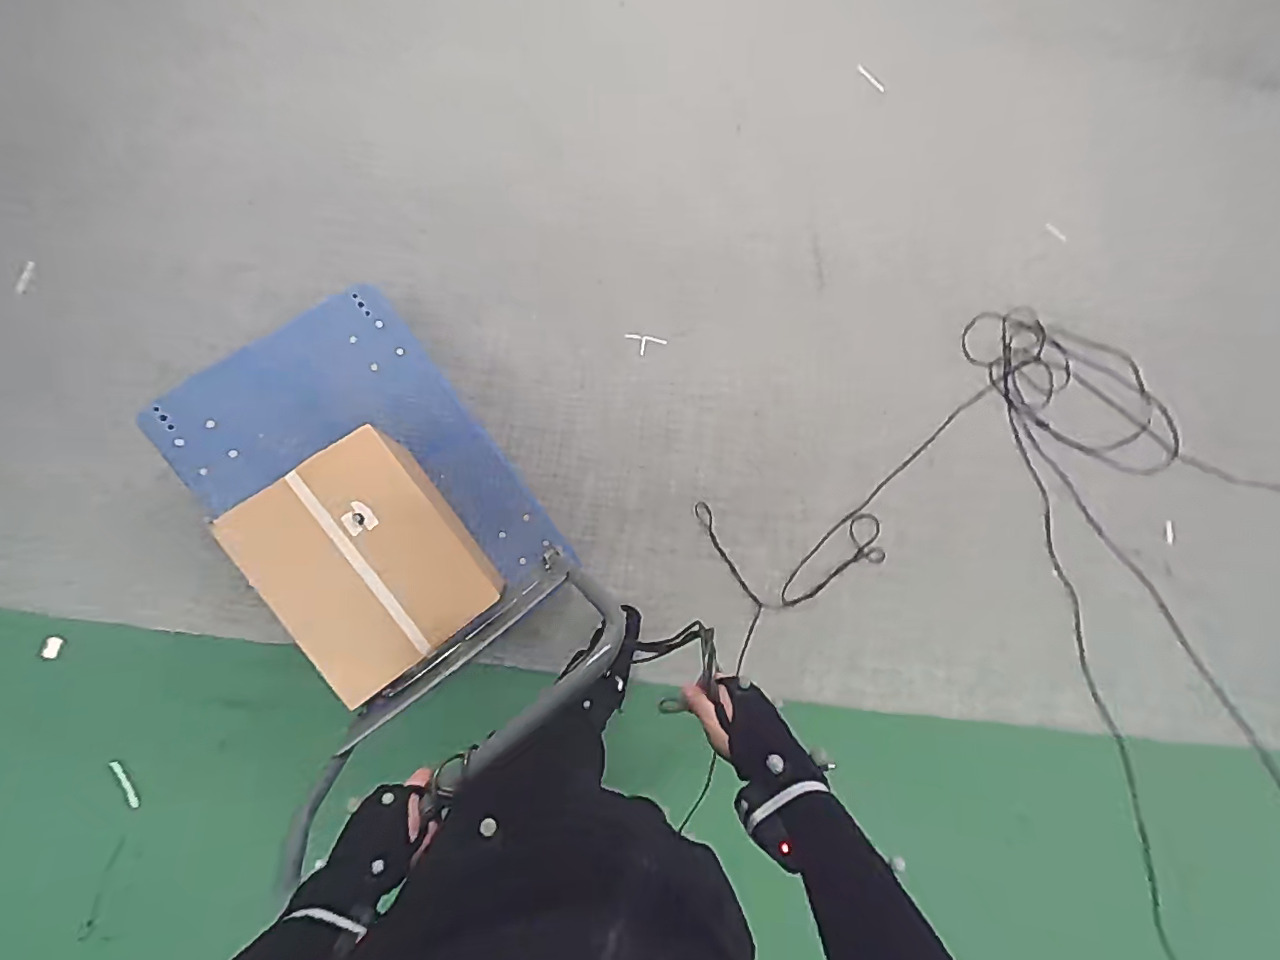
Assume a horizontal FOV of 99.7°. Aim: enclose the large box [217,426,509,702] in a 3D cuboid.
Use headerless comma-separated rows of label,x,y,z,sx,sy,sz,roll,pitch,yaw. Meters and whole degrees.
large box,-0.517,0.160,1.108,0.320,0.320,0.408,-37,92,-13
